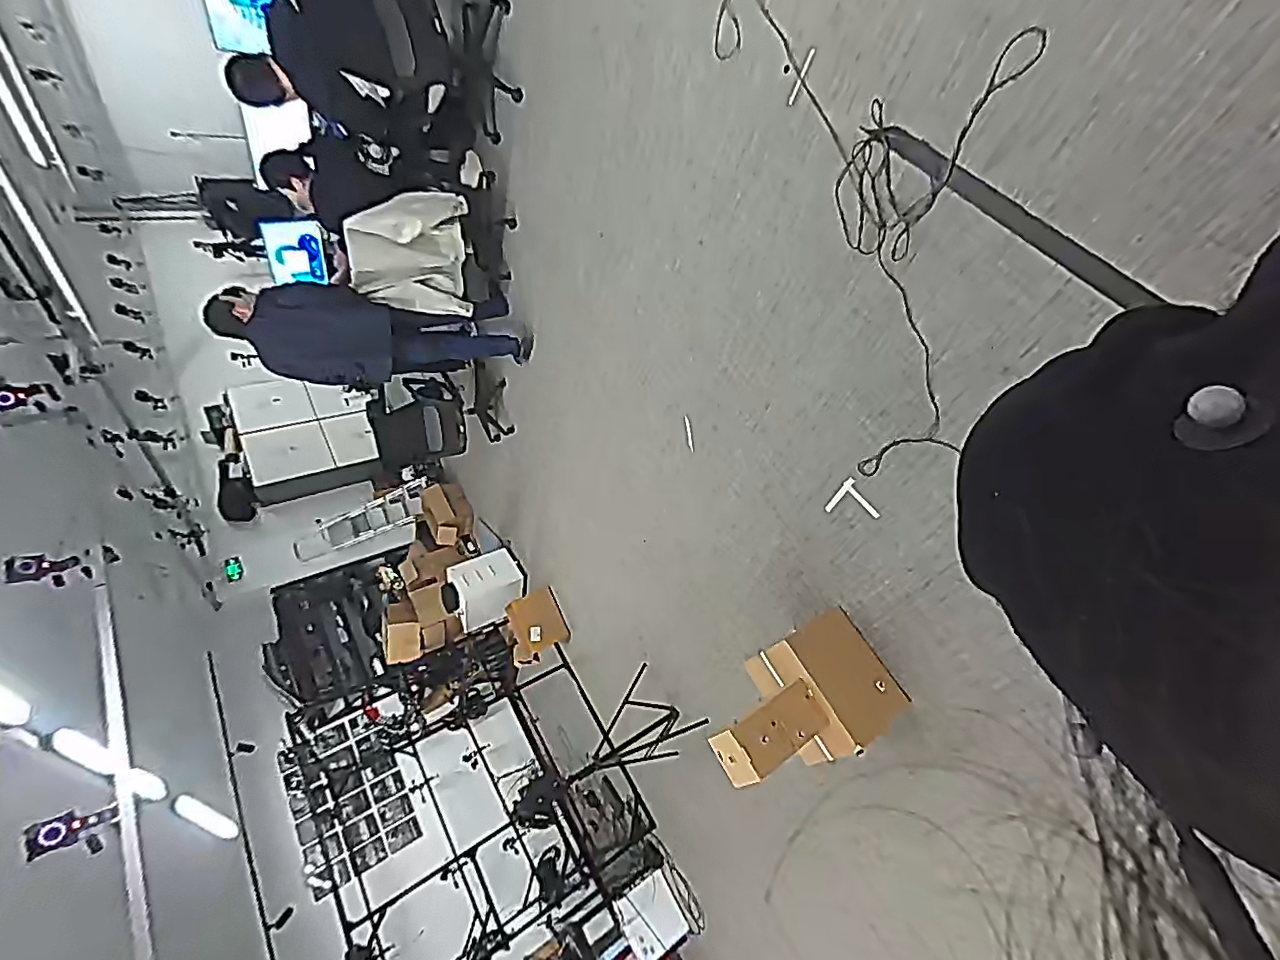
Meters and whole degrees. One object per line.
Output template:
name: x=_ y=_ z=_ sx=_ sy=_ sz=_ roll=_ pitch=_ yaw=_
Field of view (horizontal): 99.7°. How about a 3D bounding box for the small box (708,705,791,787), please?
small box: x=0.356 y=0.852 z=1.740 sx=0.168 sy=0.176 sz=0.179 roll=57 pitch=145 yaw=21
